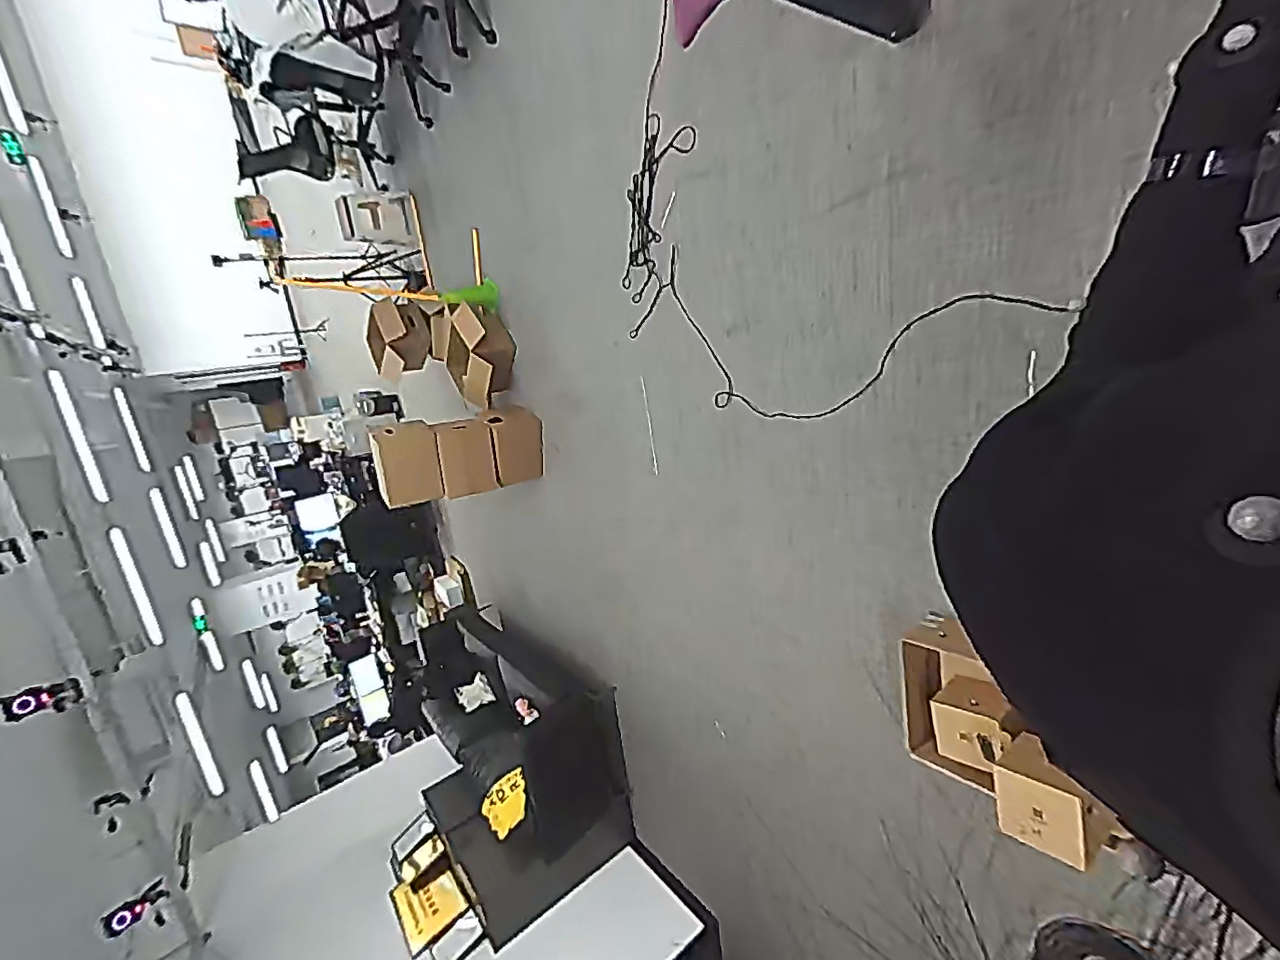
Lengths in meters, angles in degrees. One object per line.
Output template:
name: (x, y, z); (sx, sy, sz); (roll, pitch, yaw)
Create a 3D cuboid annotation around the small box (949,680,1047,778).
small box: (0.981, 0.671, 1.473); (0.179, 0.176, 0.168); (-4, 100, 56)

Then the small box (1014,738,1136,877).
small box: (0.973, 0.715, 1.209); (0.168, 0.176, 0.179); (0, 102, 58)
